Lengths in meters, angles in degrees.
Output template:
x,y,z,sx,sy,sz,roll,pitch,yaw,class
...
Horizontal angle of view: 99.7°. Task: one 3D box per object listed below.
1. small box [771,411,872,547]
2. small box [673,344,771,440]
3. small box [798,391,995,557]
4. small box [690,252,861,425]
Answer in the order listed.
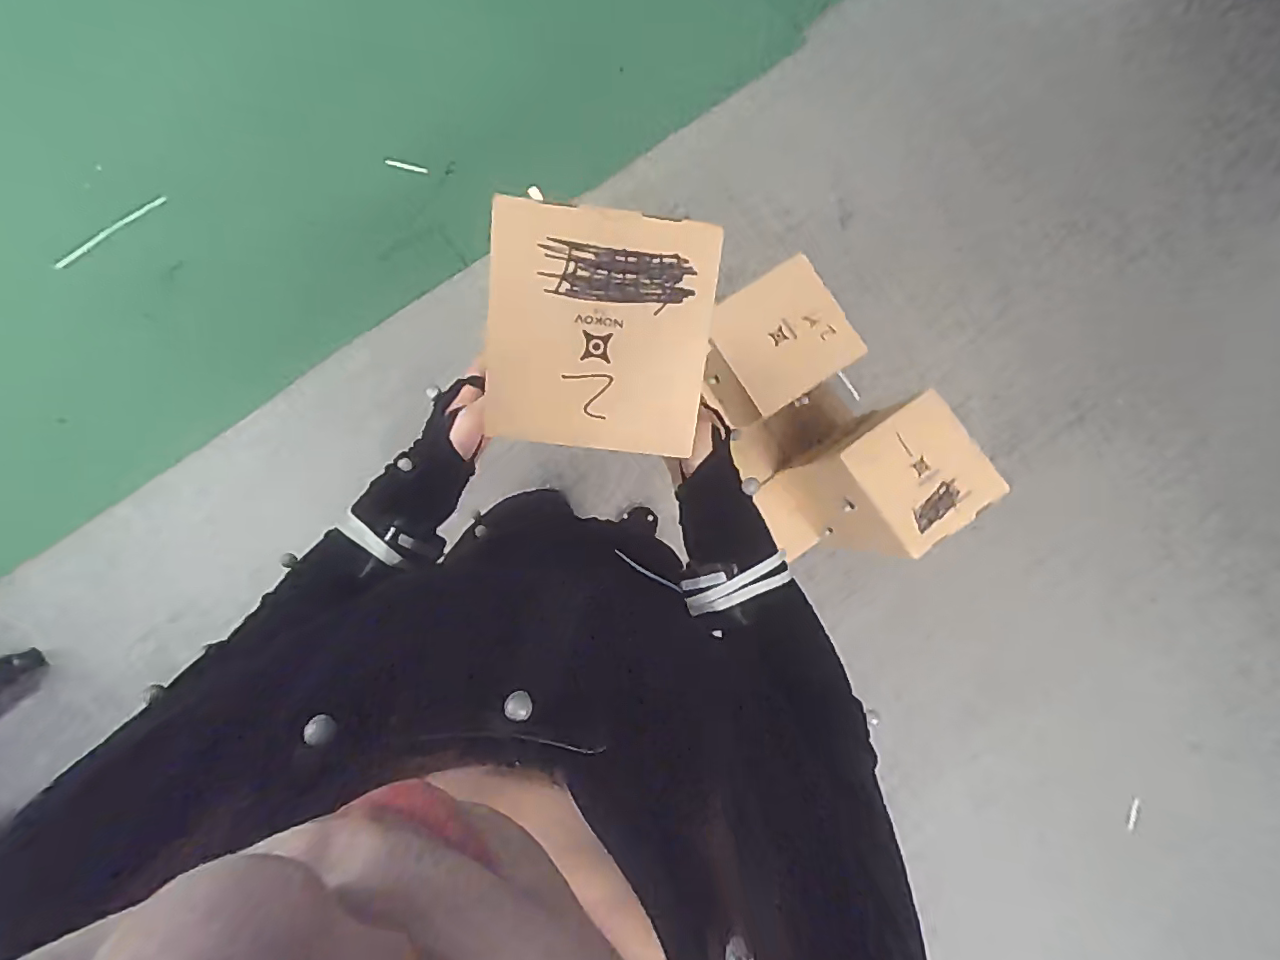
x,y,z,sx,sy,sz,roll,pitch,yaw,class
0.367,0.000,0.981,0.168,0.176,0.179,-35,88,-3,small box
0.172,-0.187,0.981,0.179,0.176,0.168,-33,90,-2,small box
0.372,-0.006,0.817,0.168,0.176,0.179,-34,87,-3,small box
0.188,-0.199,0.817,0.179,0.176,0.168,-31,91,-2,small box
